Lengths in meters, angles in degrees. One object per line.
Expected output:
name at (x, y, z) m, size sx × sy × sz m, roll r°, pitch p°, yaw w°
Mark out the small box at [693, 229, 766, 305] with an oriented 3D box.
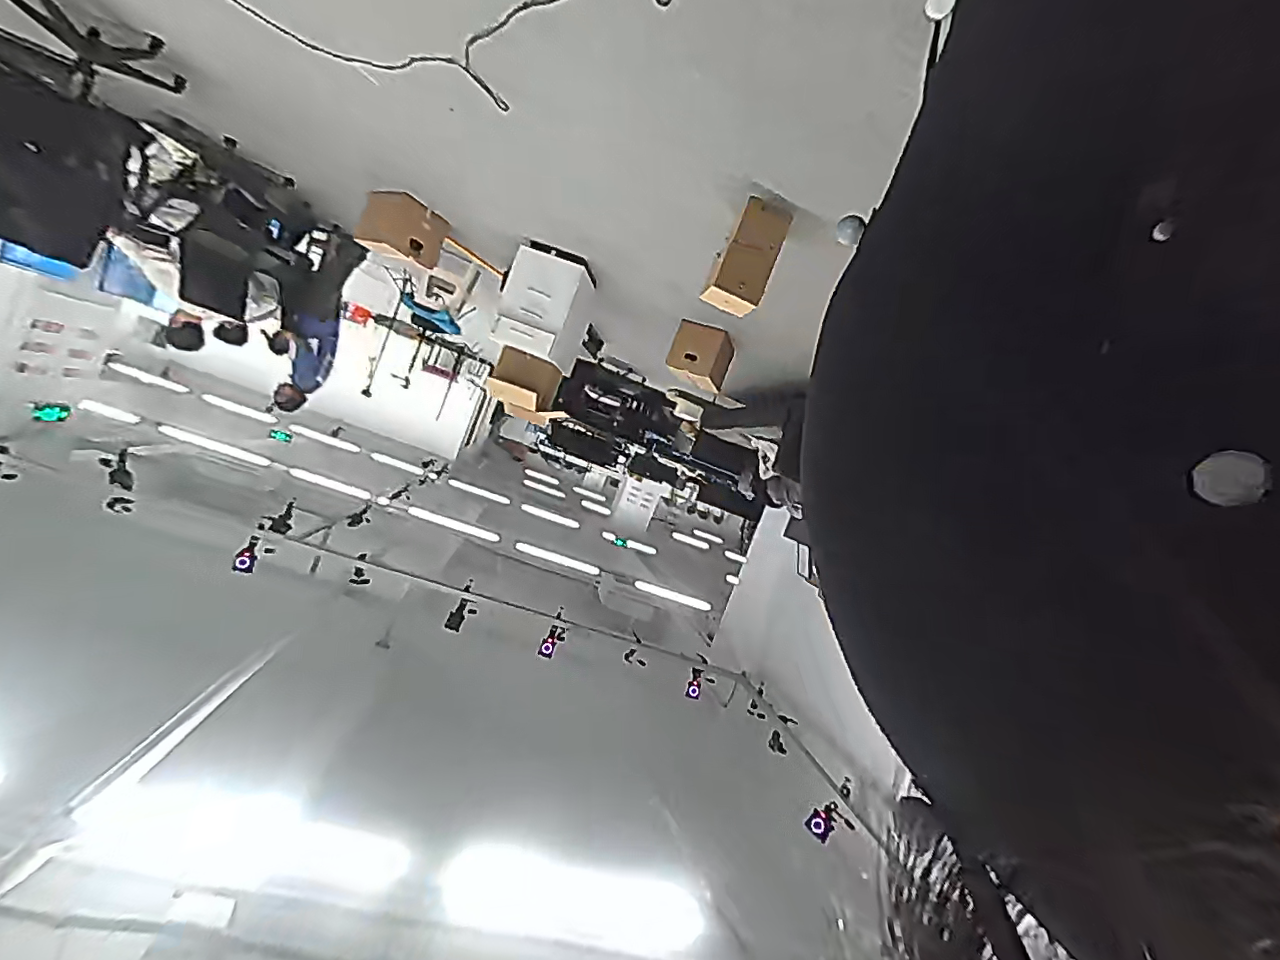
small box at (0.312, -0.737, 1.876) m, size 0.179 × 0.176 × 0.168 m, roll 21°, pitch -179°, yaw -12°
